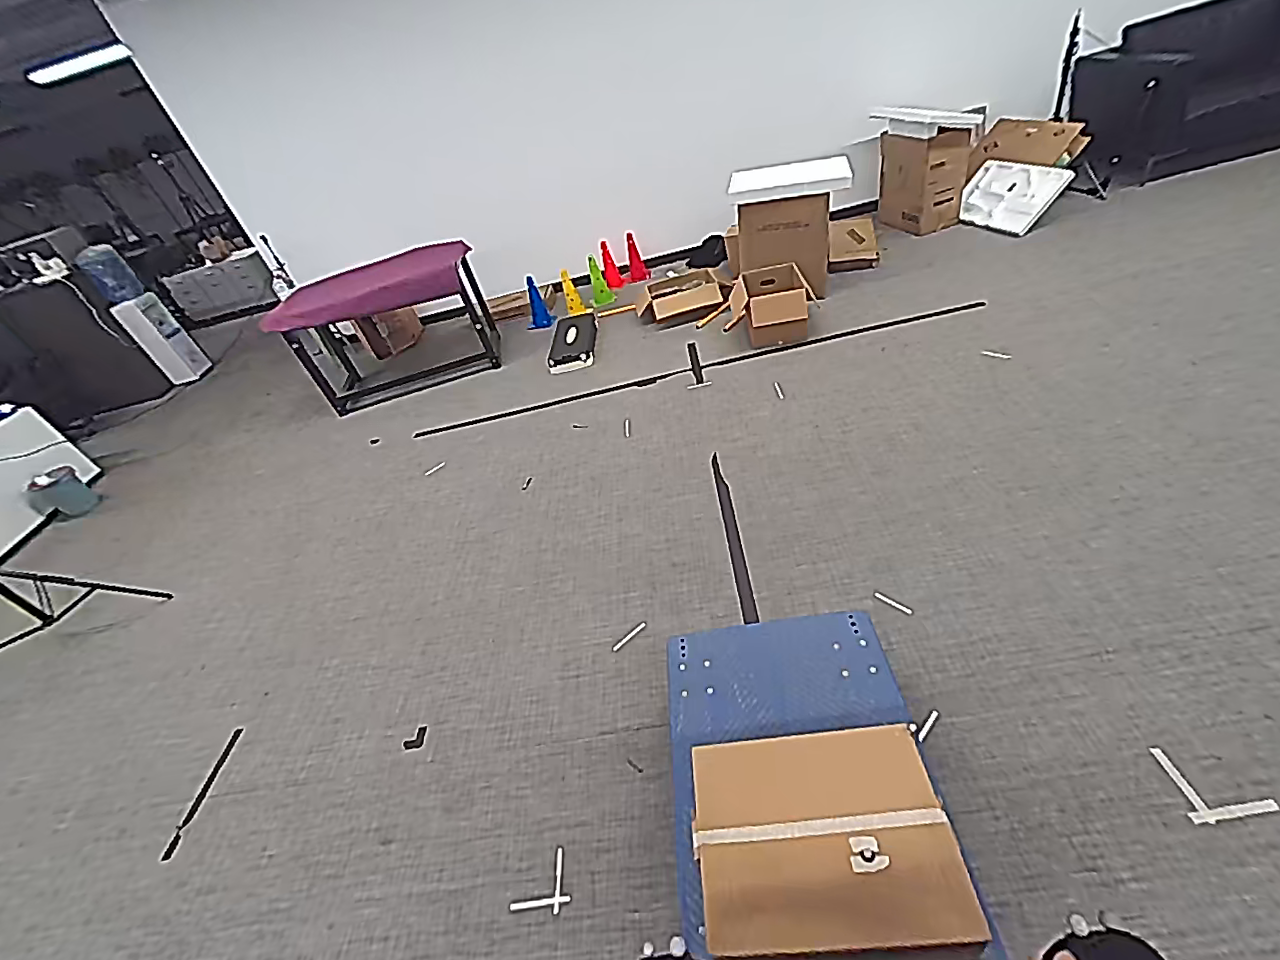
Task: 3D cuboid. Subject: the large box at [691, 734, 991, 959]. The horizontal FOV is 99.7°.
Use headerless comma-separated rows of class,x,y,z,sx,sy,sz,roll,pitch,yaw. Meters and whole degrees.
large box,0.323,0.705,0.975,0.408,0.320,0.320,-10,39,7
